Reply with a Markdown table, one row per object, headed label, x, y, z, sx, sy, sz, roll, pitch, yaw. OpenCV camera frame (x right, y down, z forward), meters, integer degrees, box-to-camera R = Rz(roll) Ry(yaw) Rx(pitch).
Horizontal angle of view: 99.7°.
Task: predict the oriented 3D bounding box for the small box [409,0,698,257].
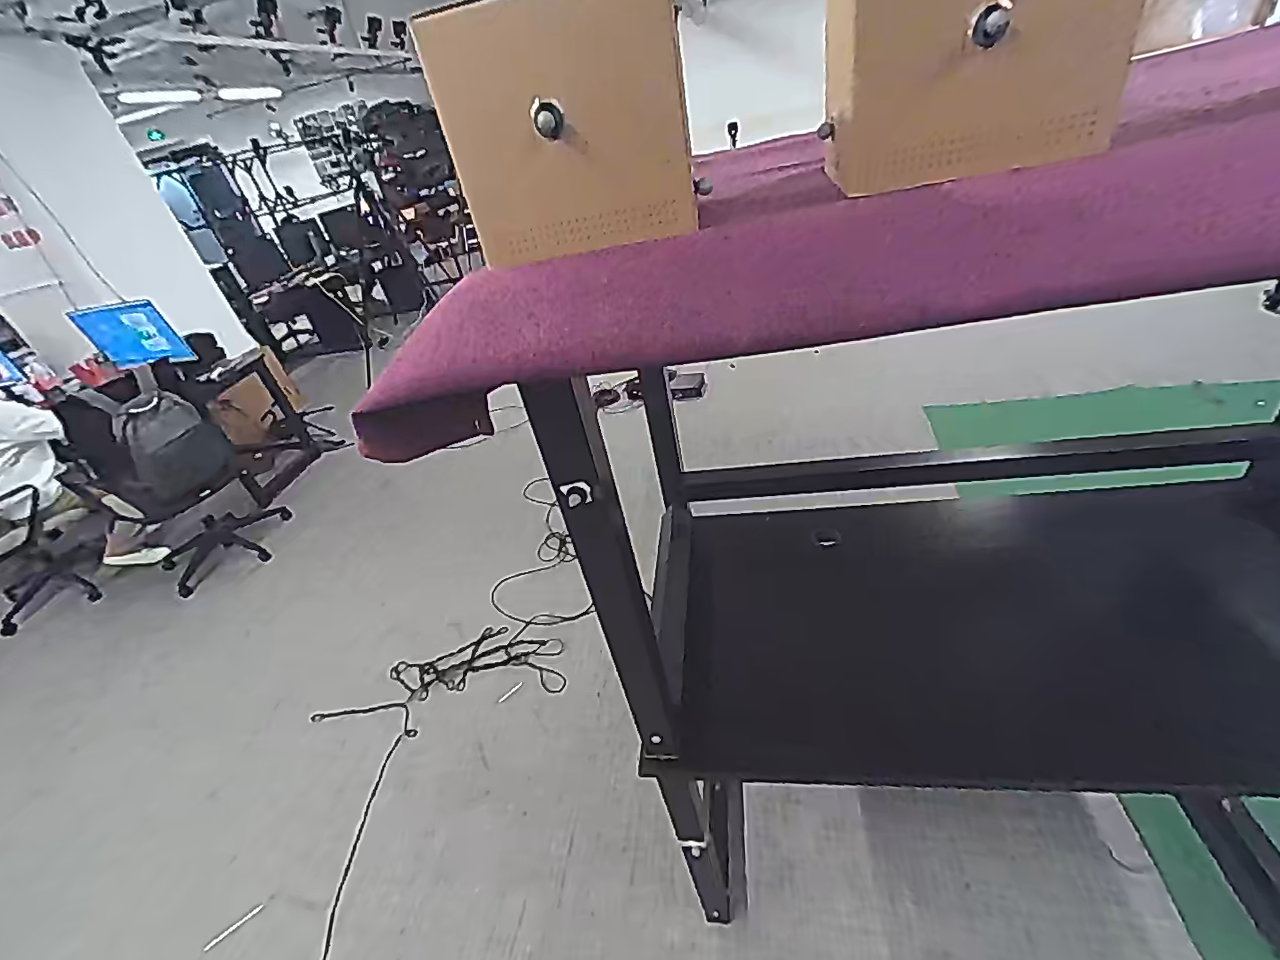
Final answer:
| label | x | y | z | sx | sy | sz | roll | pitch | yaw |
| --- | --- | --- | --- | --- | --- | --- | --- | --- | --- |
| small box | -0.045 | -0.300 | 0.445 | 0.179 | 0.176 | 0.168 | -6 | 35 | 10 |
